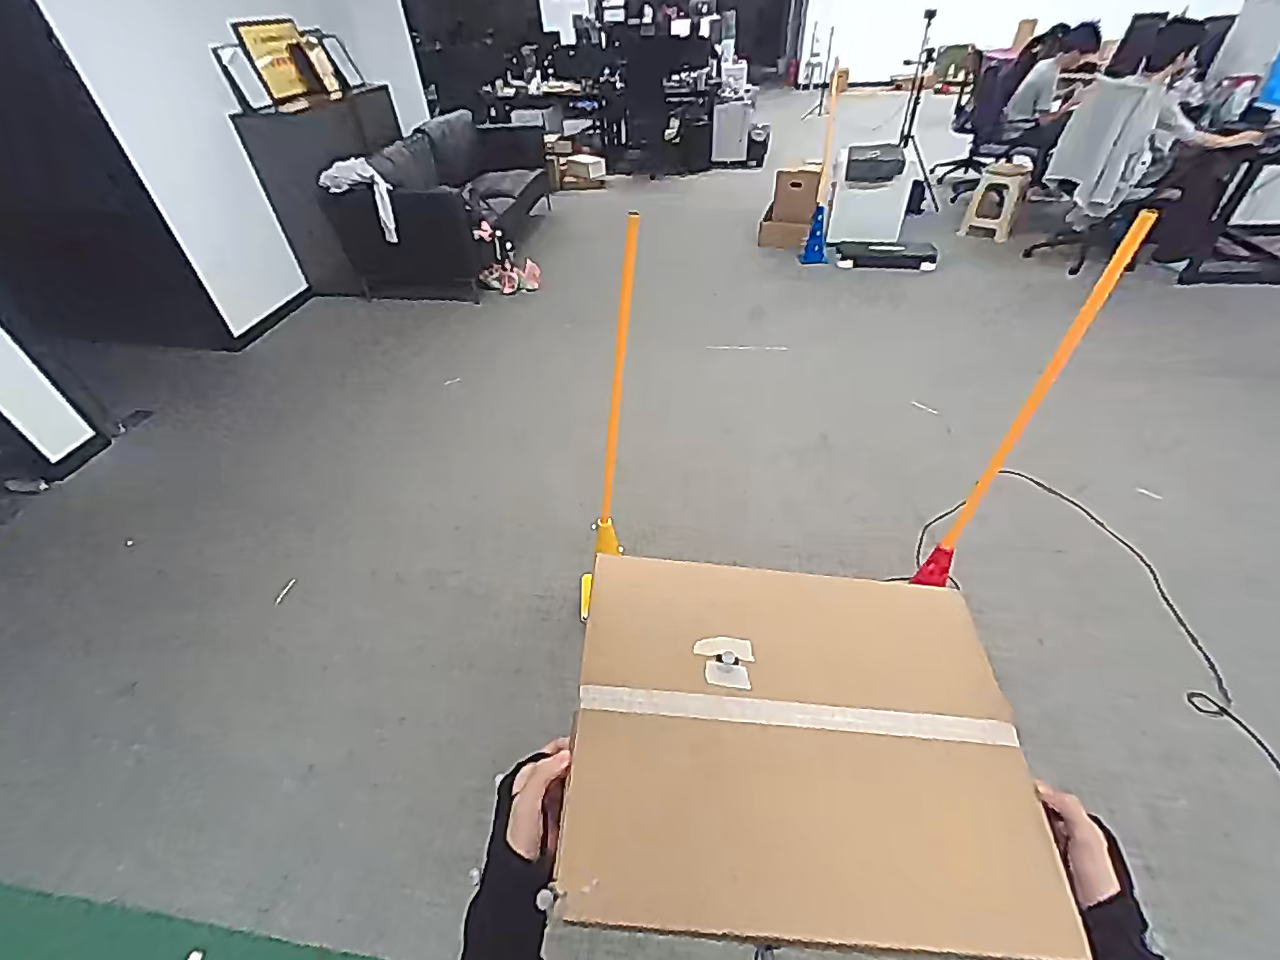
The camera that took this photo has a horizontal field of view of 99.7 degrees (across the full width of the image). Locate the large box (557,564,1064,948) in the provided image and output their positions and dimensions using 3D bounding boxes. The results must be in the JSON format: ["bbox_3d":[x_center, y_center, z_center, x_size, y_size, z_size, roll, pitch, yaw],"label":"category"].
[{"bbox_3d":[0.133,0.317,0.621,0.408,0.320,0.320,5,50,-1],"label":"large box"}]
